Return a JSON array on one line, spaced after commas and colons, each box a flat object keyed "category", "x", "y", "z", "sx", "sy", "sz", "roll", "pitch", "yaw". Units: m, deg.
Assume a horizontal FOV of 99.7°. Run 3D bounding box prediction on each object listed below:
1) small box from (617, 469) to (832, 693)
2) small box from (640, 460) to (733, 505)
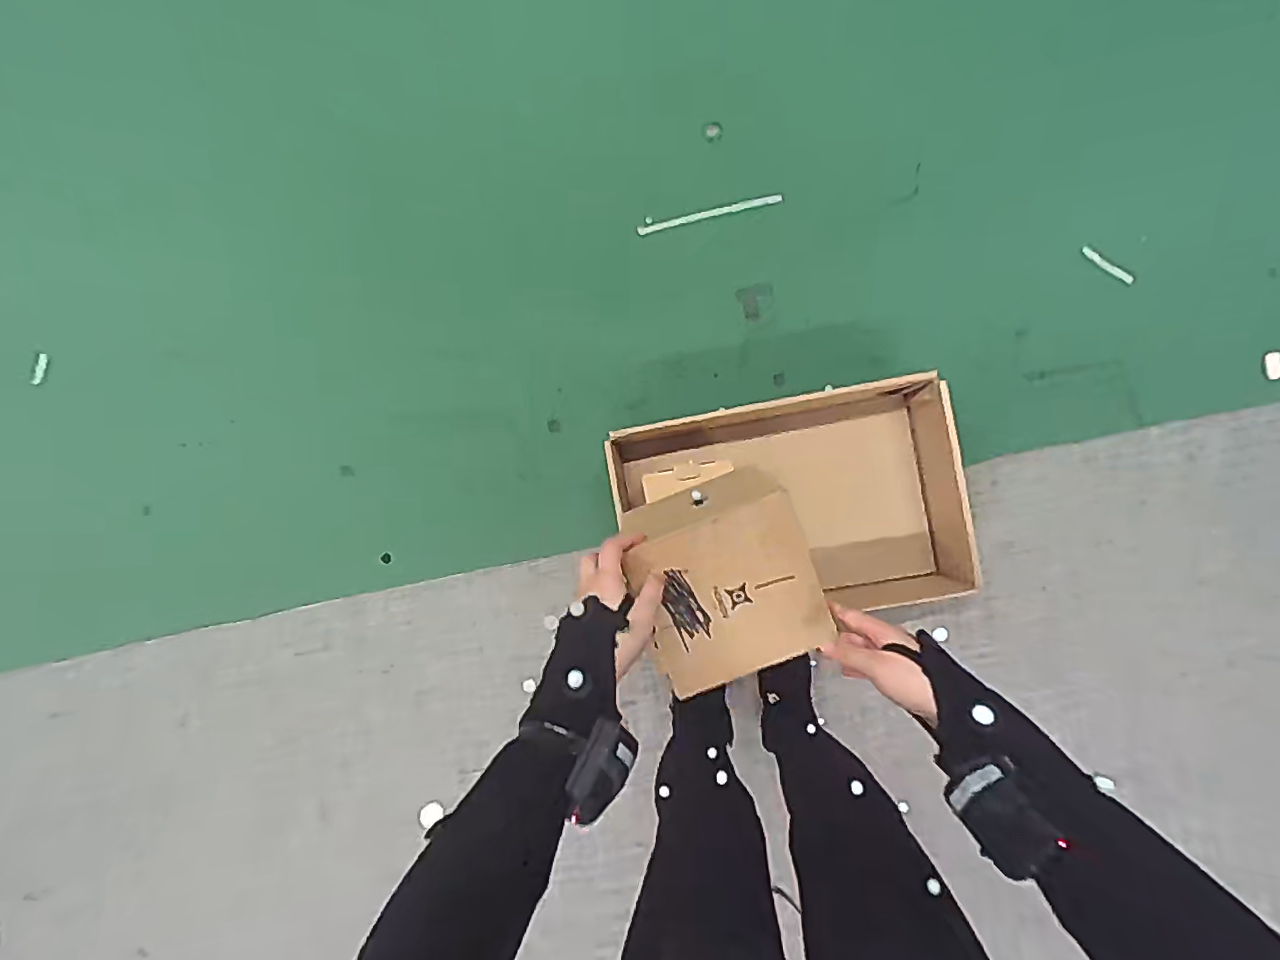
[{"category": "small box", "x": 0.086, "y": 0.101, "z": 0.612, "sx": 0.179, "sy": 0.176, "sz": 0.168, "roll": -21, "pitch": 101, "yaw": 3}, {"category": "small box", "x": 0.100, "y": 0.061, "z": 1.029, "sx": 0.168, "sy": 0.176, "sz": 0.179, "roll": -11, "pitch": 90, "yaw": 4}]
